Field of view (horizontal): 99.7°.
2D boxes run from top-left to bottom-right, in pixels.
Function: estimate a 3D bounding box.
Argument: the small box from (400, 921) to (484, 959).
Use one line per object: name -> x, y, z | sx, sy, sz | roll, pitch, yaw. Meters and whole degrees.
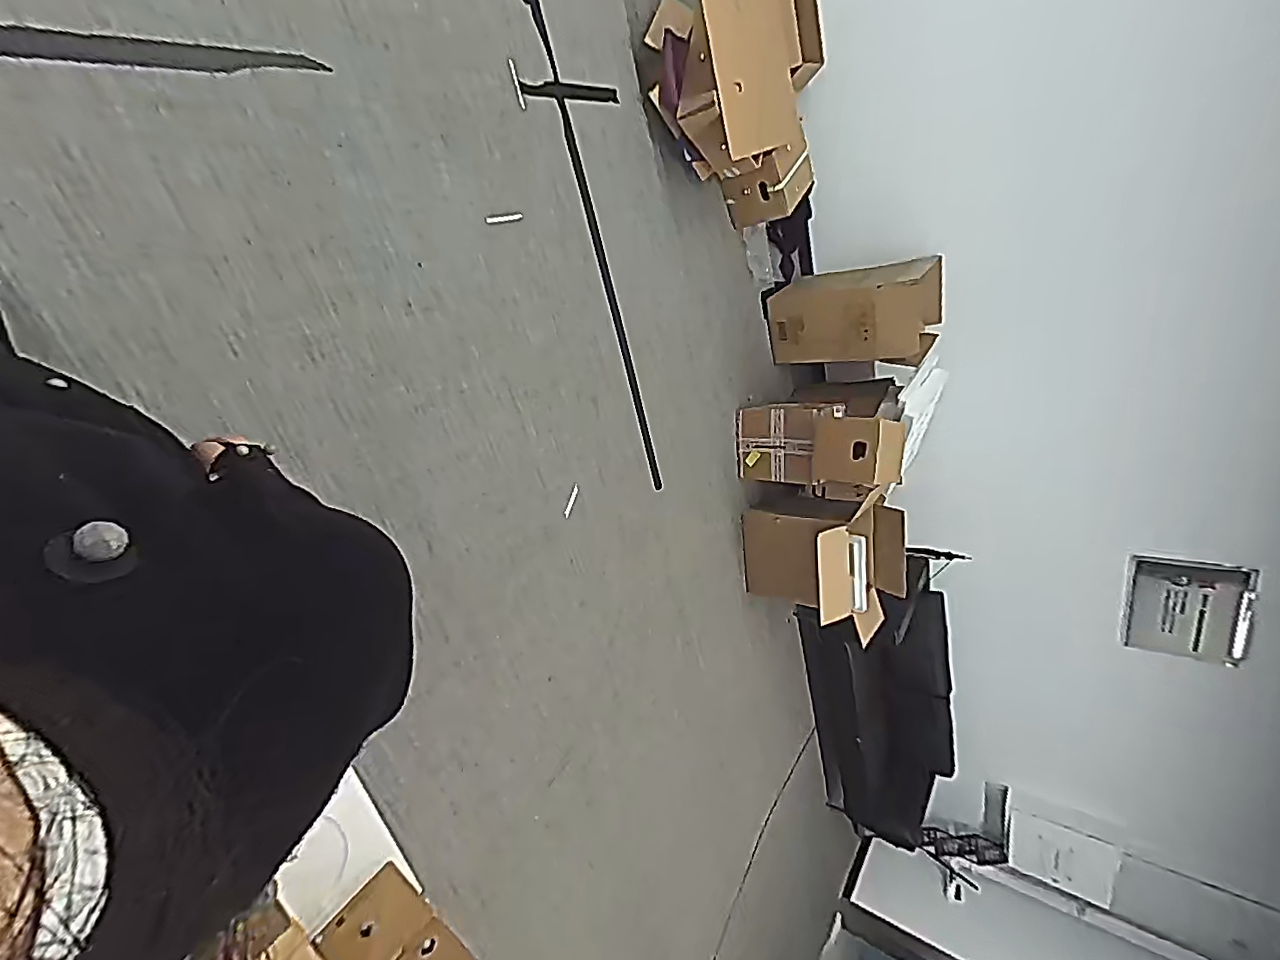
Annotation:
small box -> -0.298, 0.820, 0.810 | 0.168, 0.176, 0.179 | -38, 122, -41
